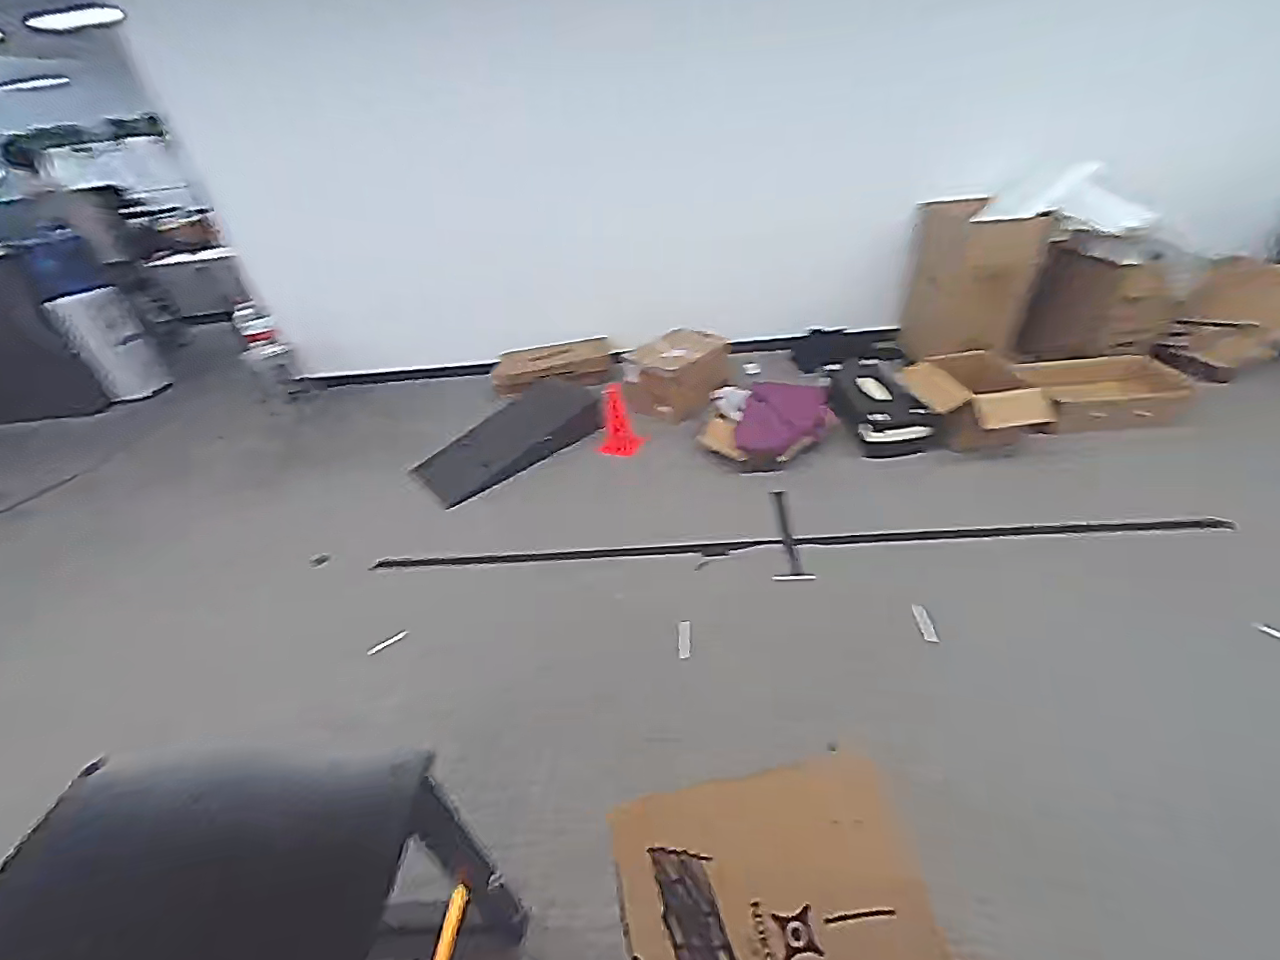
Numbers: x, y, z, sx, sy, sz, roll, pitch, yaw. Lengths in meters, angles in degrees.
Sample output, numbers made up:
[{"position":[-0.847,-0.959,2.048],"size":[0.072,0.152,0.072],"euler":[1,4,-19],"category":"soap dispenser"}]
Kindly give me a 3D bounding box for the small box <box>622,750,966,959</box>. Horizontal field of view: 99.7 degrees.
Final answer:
[{"position":[0.095,0.304,0.365],"size":[0.179,0.176,0.168],"euler":[-12,53,-2],"category":"small box"}]
